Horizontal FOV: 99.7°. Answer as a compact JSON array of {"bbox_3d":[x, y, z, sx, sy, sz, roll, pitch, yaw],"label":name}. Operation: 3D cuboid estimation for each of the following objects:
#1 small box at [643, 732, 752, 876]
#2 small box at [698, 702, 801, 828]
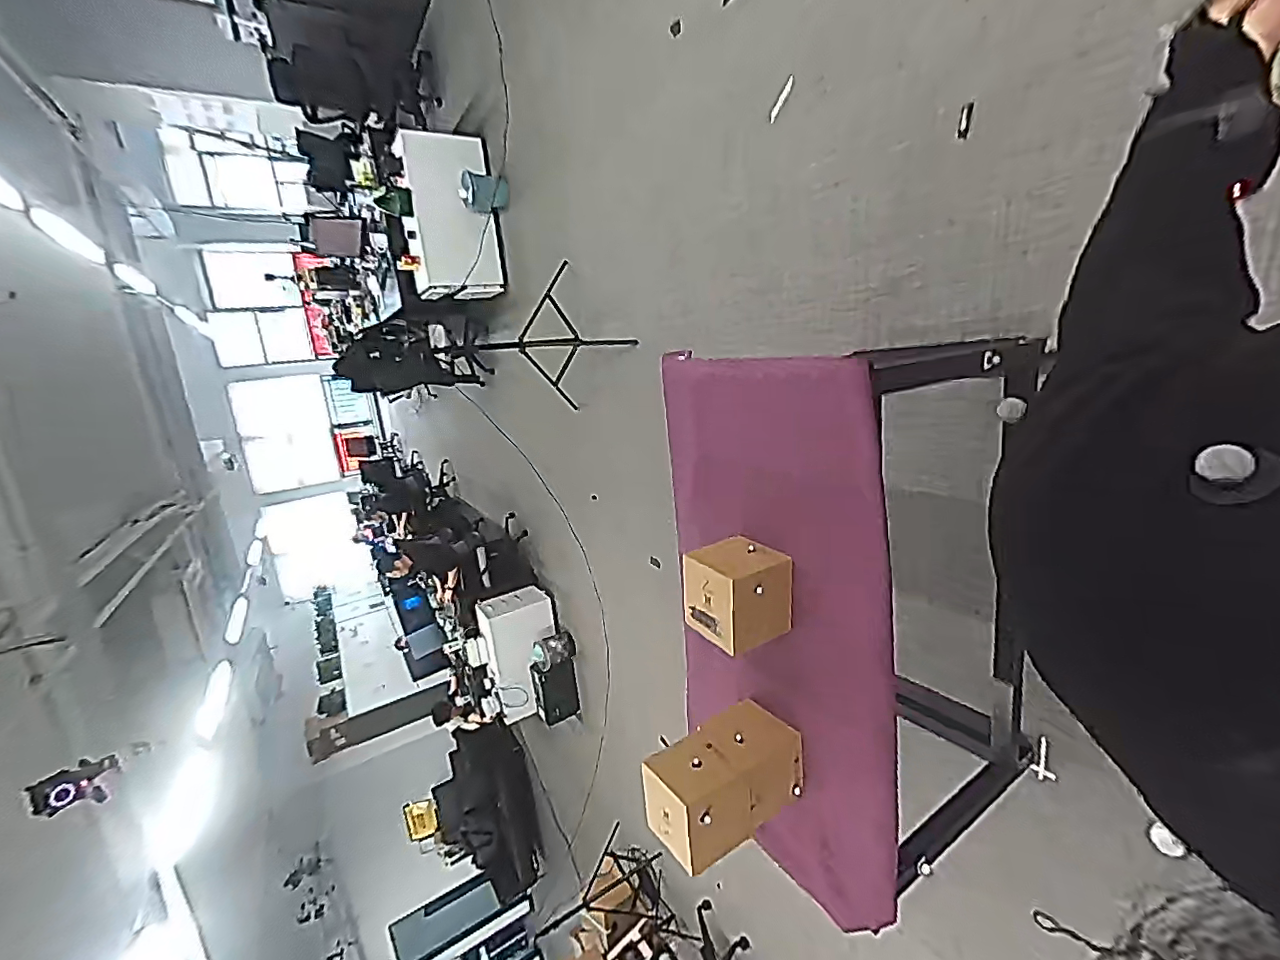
[{"bbox_3d":[0.126,0.690,1.177,0.168,0.176,0.179,14,114,57],"label":"small box"},{"bbox_3d":[0.260,0.653,1.267,0.179,0.176,0.168,15,114,57],"label":"small box"}]
